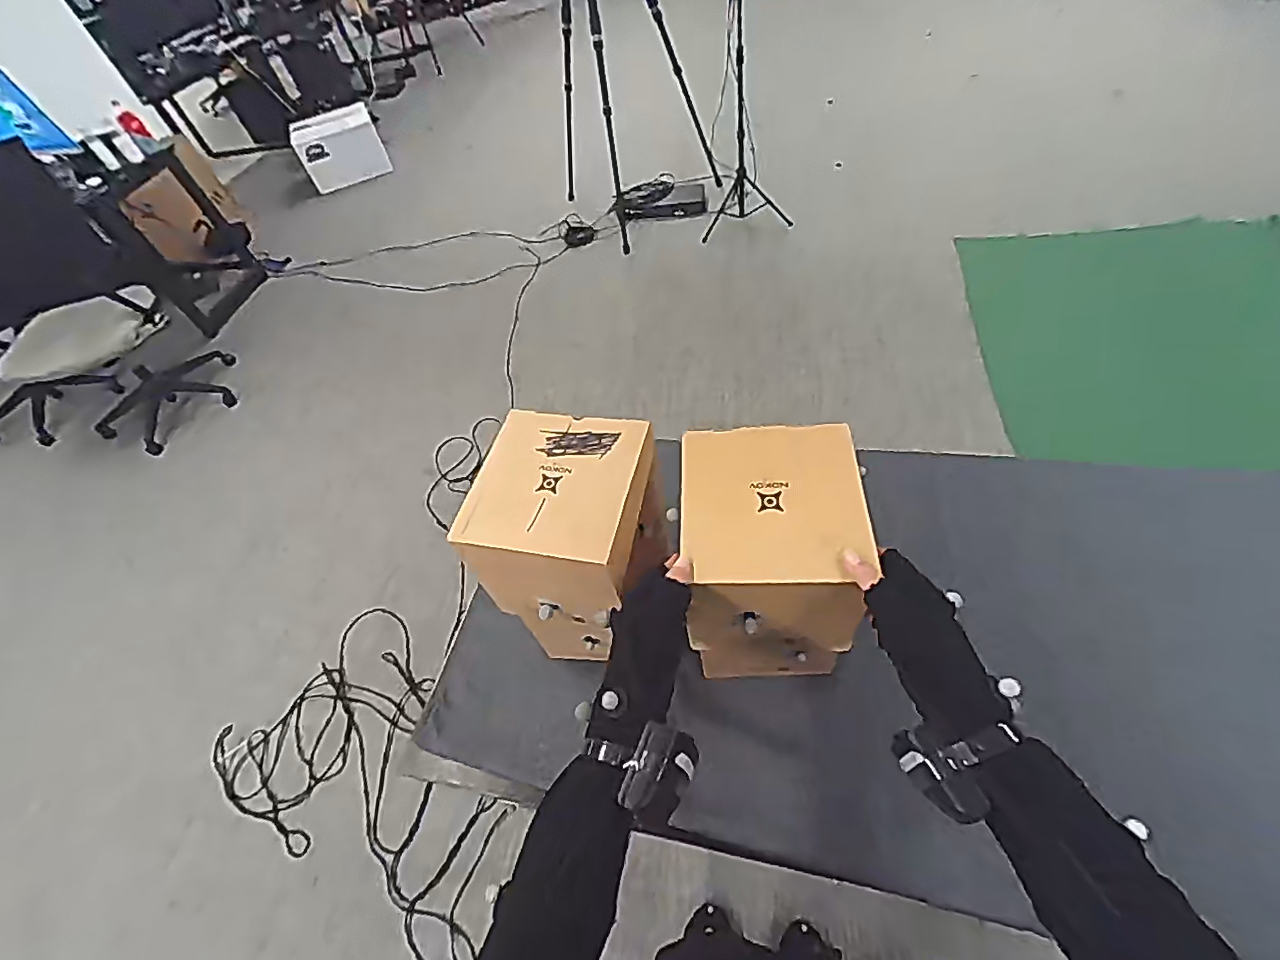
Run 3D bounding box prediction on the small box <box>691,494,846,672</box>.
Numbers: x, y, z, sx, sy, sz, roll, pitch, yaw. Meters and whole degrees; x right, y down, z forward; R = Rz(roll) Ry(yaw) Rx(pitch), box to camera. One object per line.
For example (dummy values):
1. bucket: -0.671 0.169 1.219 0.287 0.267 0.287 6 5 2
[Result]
1. small box: 0.156 0.141 0.700 0.168 0.176 0.179 -4 51 7
